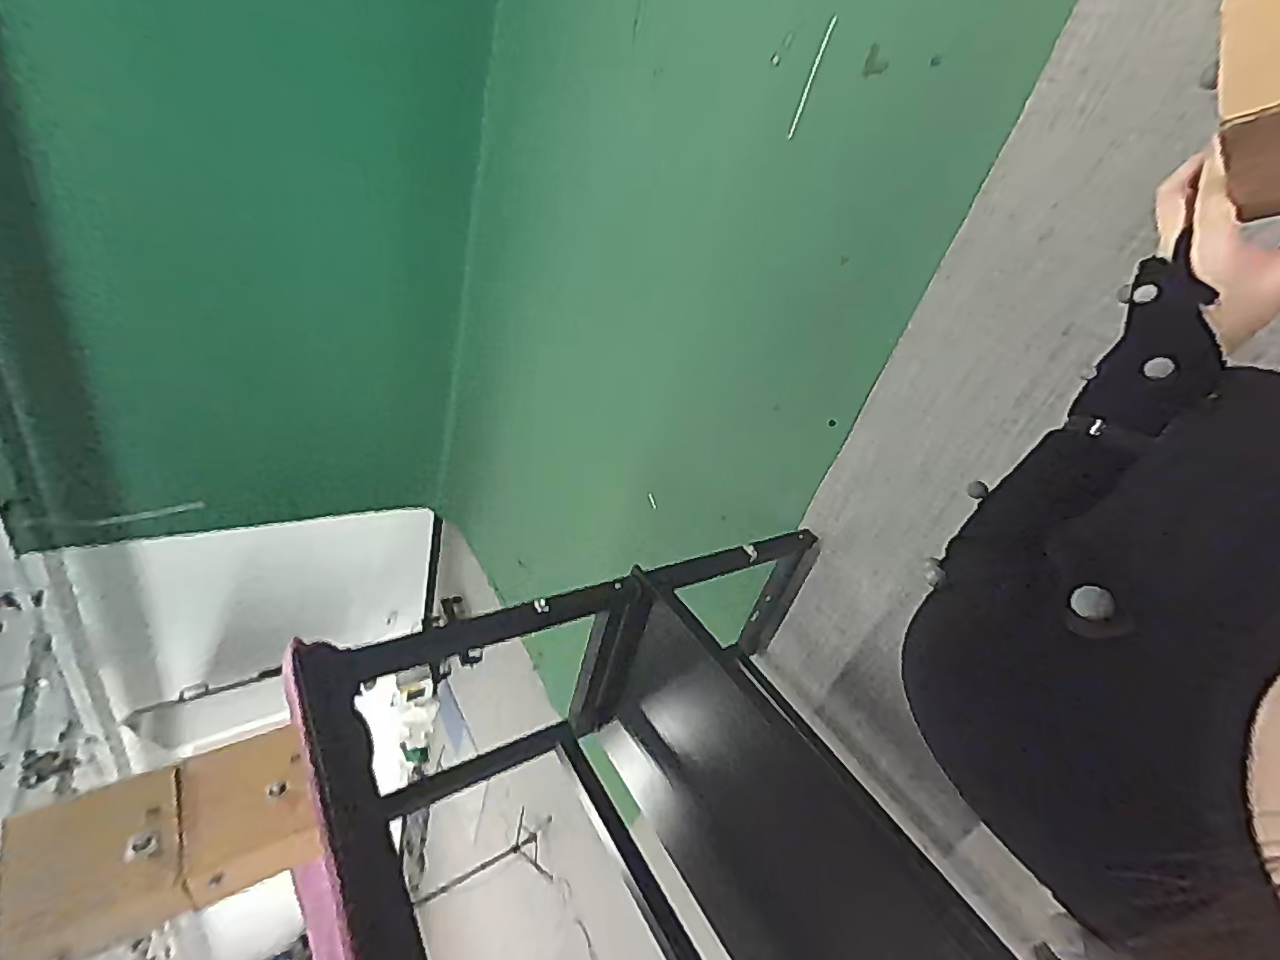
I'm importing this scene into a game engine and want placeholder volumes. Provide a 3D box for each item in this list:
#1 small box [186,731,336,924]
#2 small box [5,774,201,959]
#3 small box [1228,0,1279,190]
[{"bbox_3d":[-0.577,0.525,0.831,0.168,0.176,0.179,53,132,32],"label":"small box"},{"bbox_3d":[-0.700,0.536,0.727,0.168,0.176,0.179,55,132,28],"label":"small box"},{"bbox_3d":[0.394,-0.255,0.241,0.168,0.176,0.179,2,94,50],"label":"small box"}]
